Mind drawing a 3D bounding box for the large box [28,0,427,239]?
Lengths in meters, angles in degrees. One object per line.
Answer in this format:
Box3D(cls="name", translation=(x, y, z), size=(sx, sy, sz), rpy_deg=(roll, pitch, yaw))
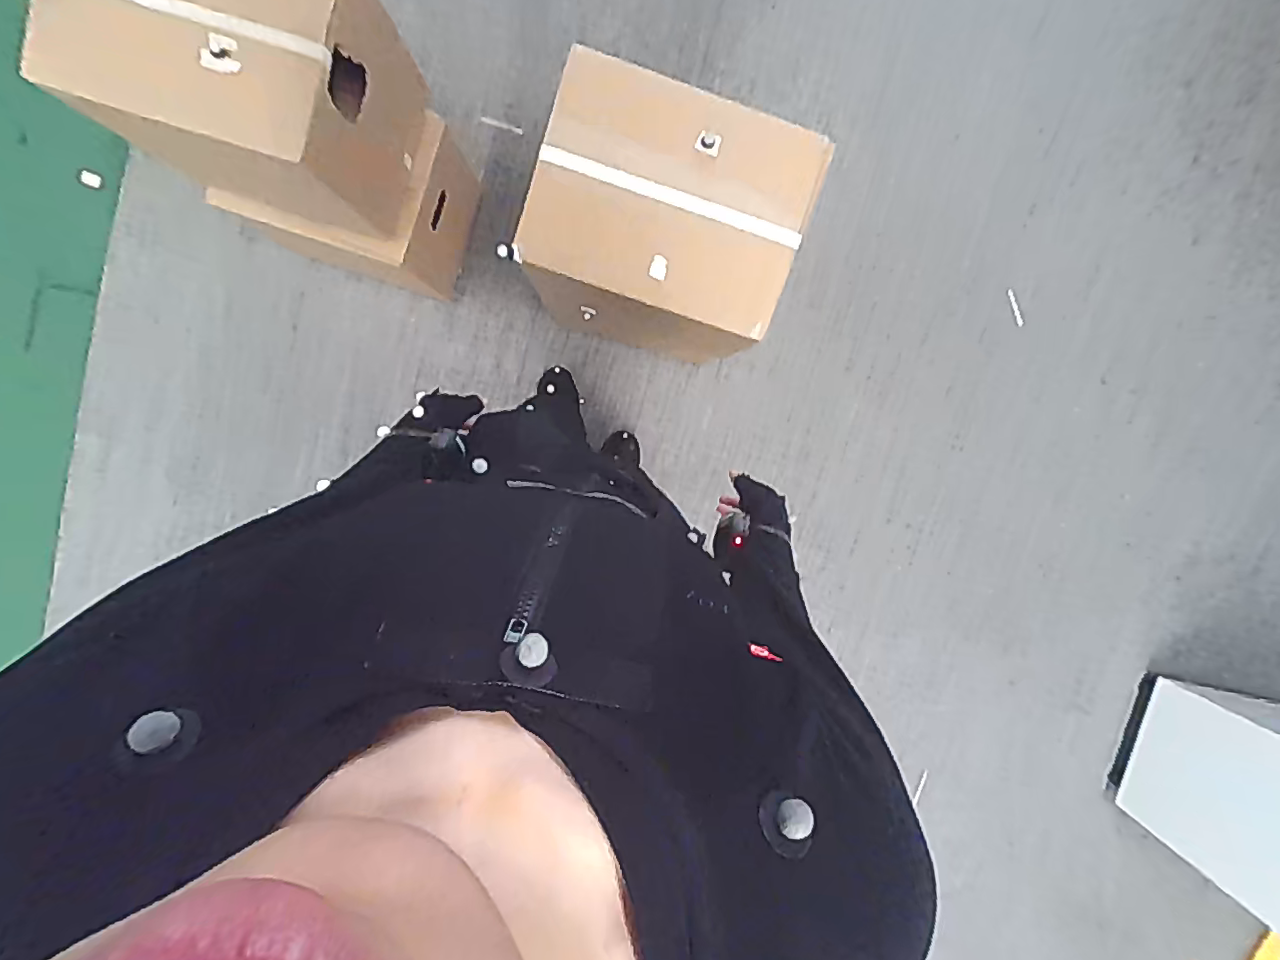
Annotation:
Box3D(cls="large box", translation=(-0.642, -0.668, 0.917), size=(0.408, 0.320, 0.320), rpy_deg=(16, 93, -4))
